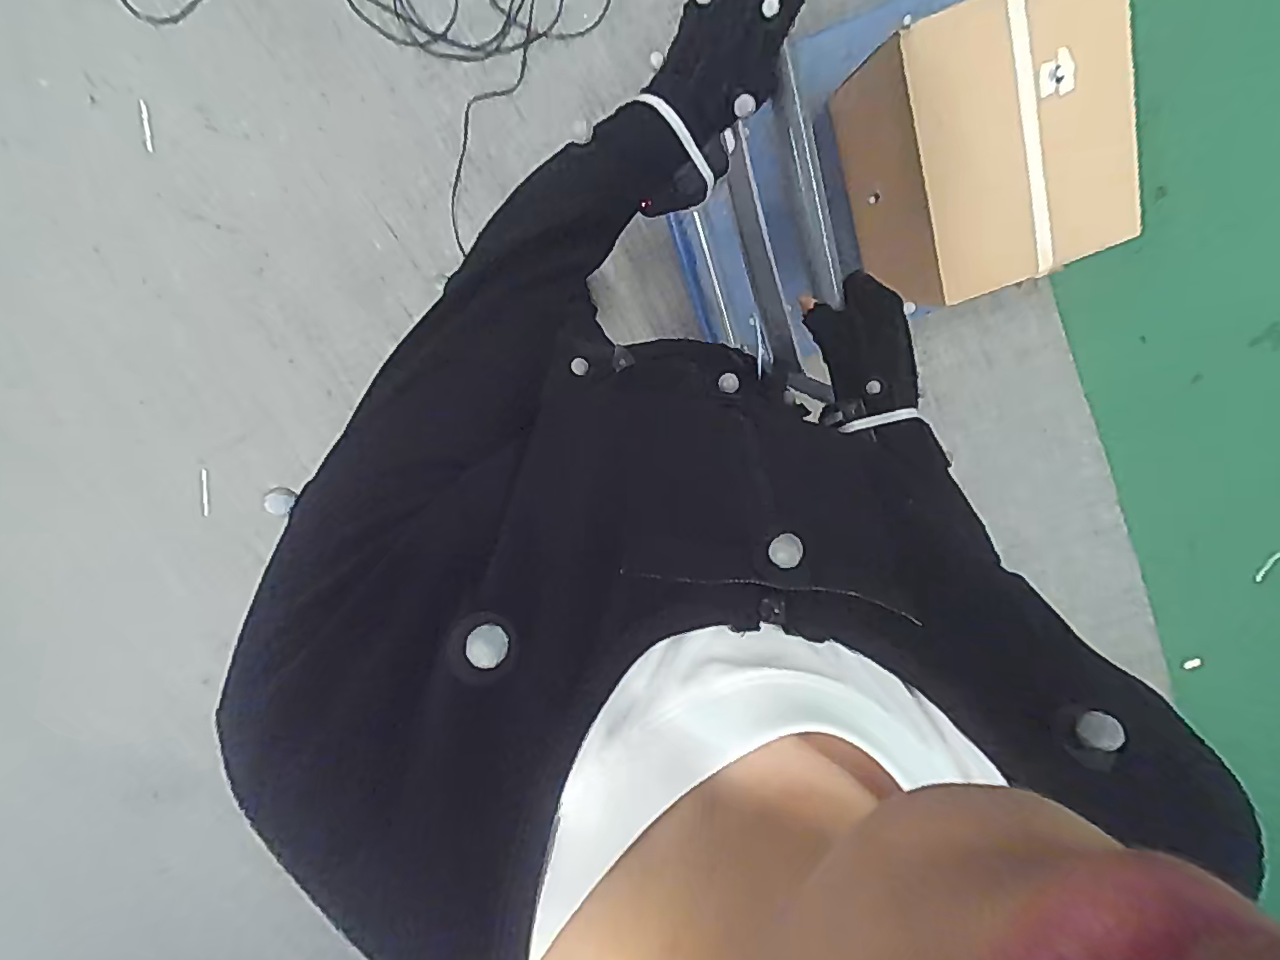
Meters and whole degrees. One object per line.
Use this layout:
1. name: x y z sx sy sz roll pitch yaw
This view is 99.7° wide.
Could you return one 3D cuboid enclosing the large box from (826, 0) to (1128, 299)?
1. large box: 0.569 -0.577 0.962 0.320 0.320 0.408 -20 108 6
